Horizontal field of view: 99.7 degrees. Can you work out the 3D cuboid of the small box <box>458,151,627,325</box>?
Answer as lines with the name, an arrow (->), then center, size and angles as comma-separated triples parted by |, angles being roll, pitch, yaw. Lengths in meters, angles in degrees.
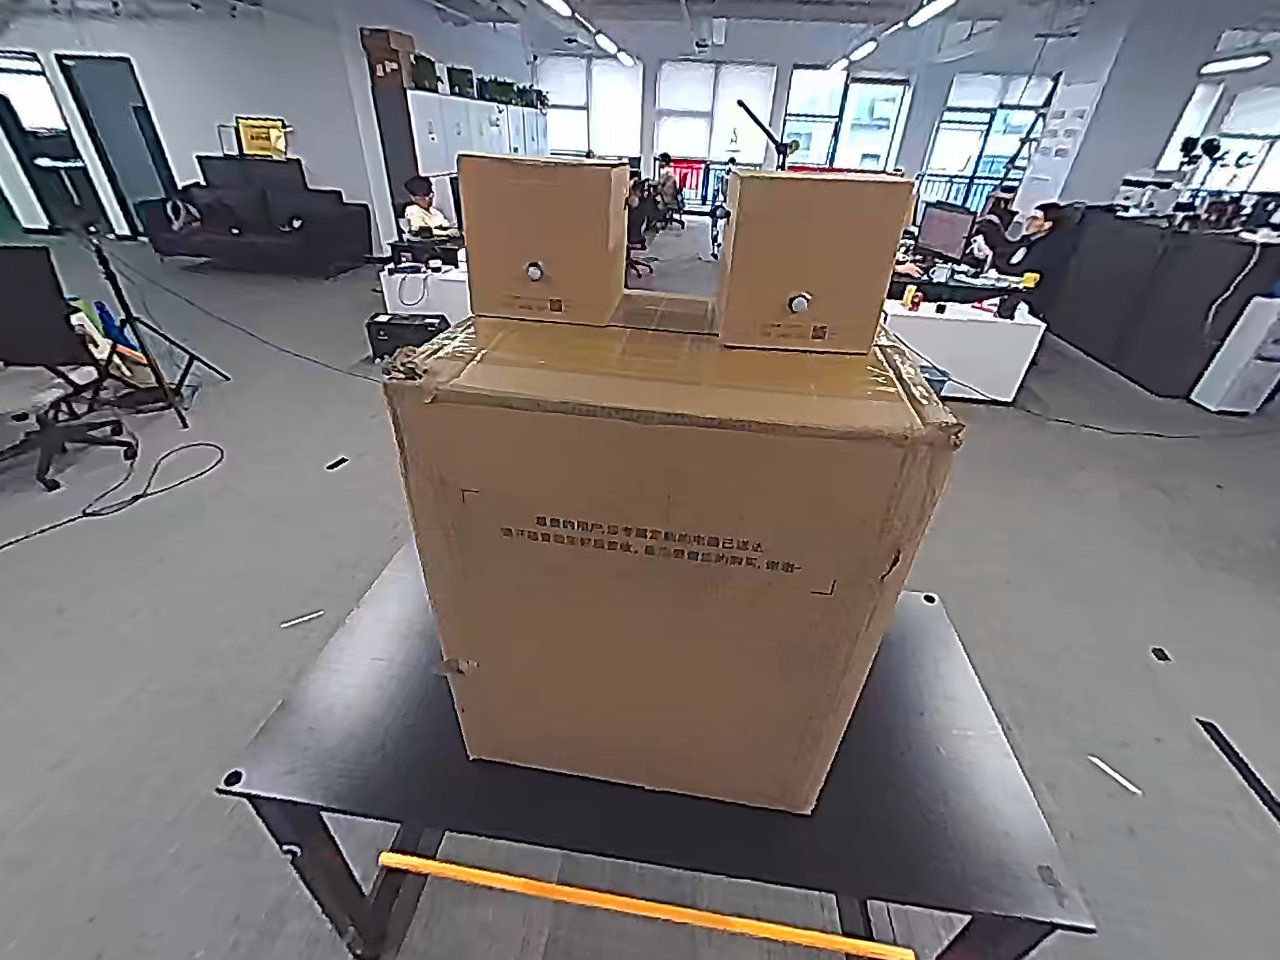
small box -> -0.110, -0.304, 0.674 | 0.168, 0.176, 0.179 | 5, 31, 3

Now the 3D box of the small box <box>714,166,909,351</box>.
small box -> 0.176, -0.259, 0.623 | 0.168, 0.176, 0.179 | 3, 31, 3
